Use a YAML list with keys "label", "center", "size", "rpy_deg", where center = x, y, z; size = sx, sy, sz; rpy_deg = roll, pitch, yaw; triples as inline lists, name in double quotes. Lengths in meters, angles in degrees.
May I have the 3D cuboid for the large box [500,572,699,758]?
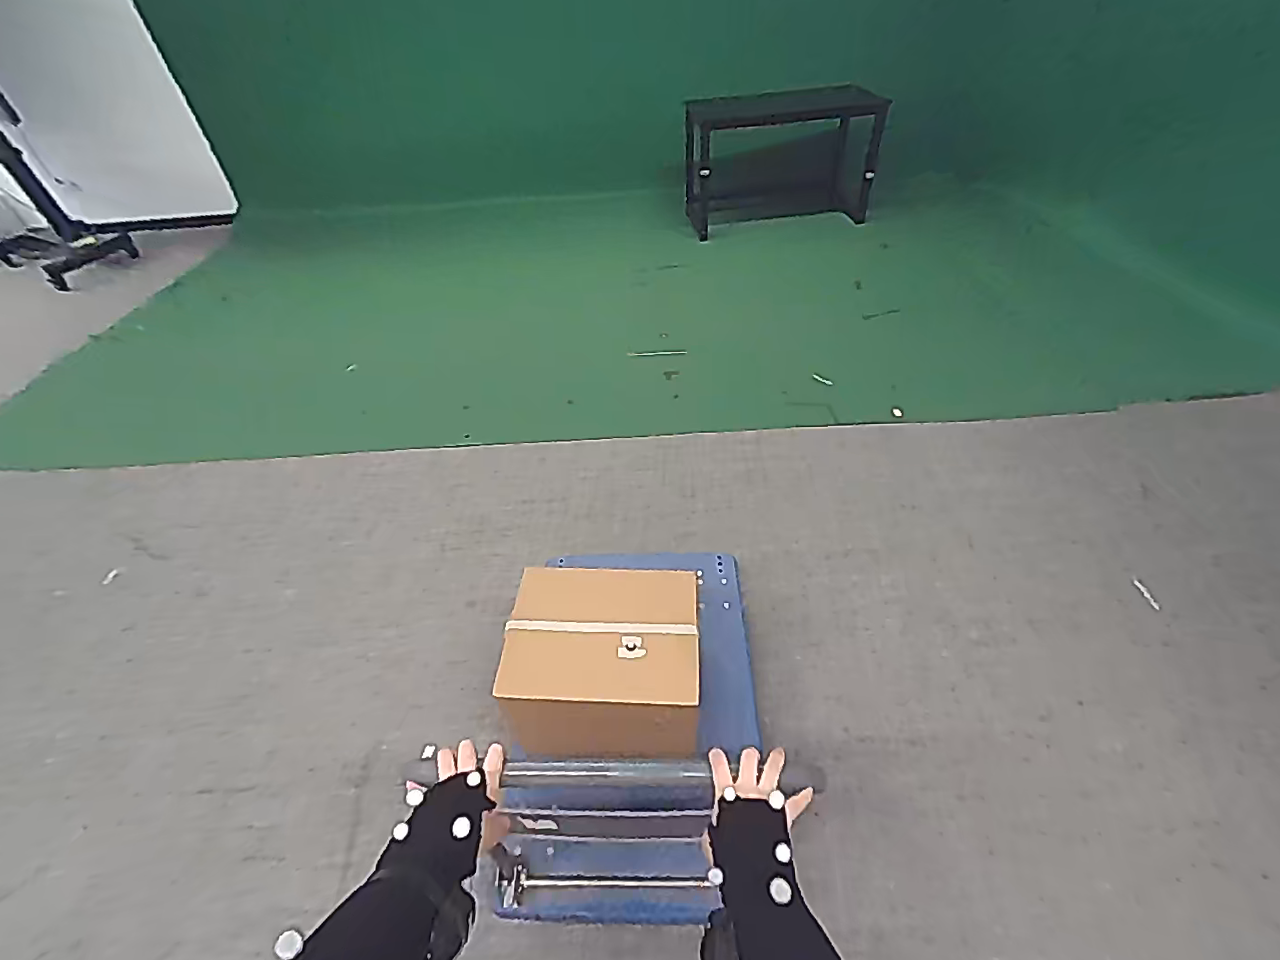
- label: "large box"
  center: [-0.074, 0.433, 1.269]
  size: [0.408, 0.320, 0.320]
  rpy_deg: [1, 44, 3]
